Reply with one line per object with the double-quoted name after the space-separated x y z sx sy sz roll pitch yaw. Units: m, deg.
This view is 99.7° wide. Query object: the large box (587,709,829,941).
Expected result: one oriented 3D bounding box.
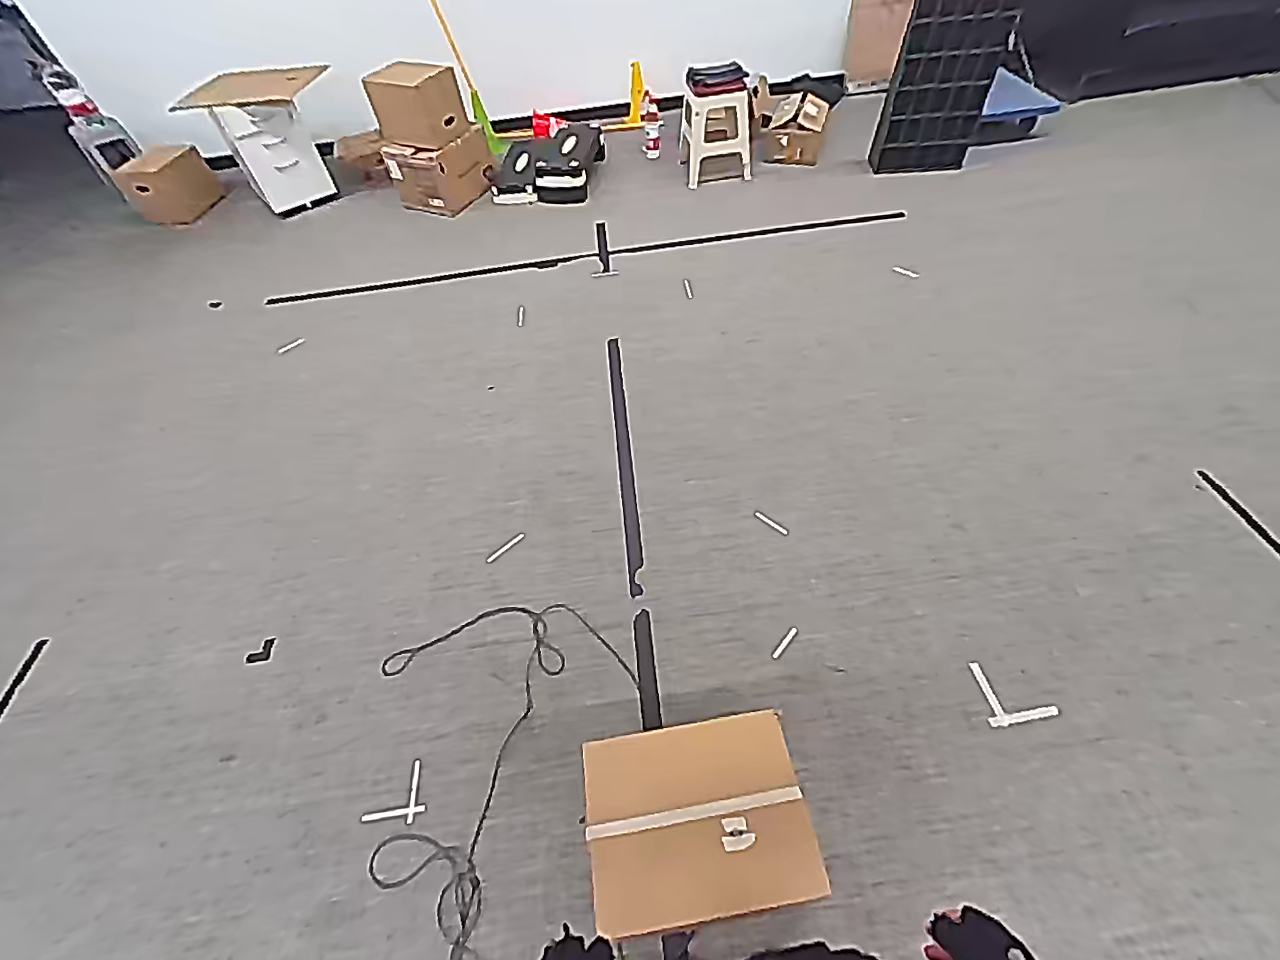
0.119 0.721 1.128 0.408 0.320 0.320 -9 49 -3 "large box"
